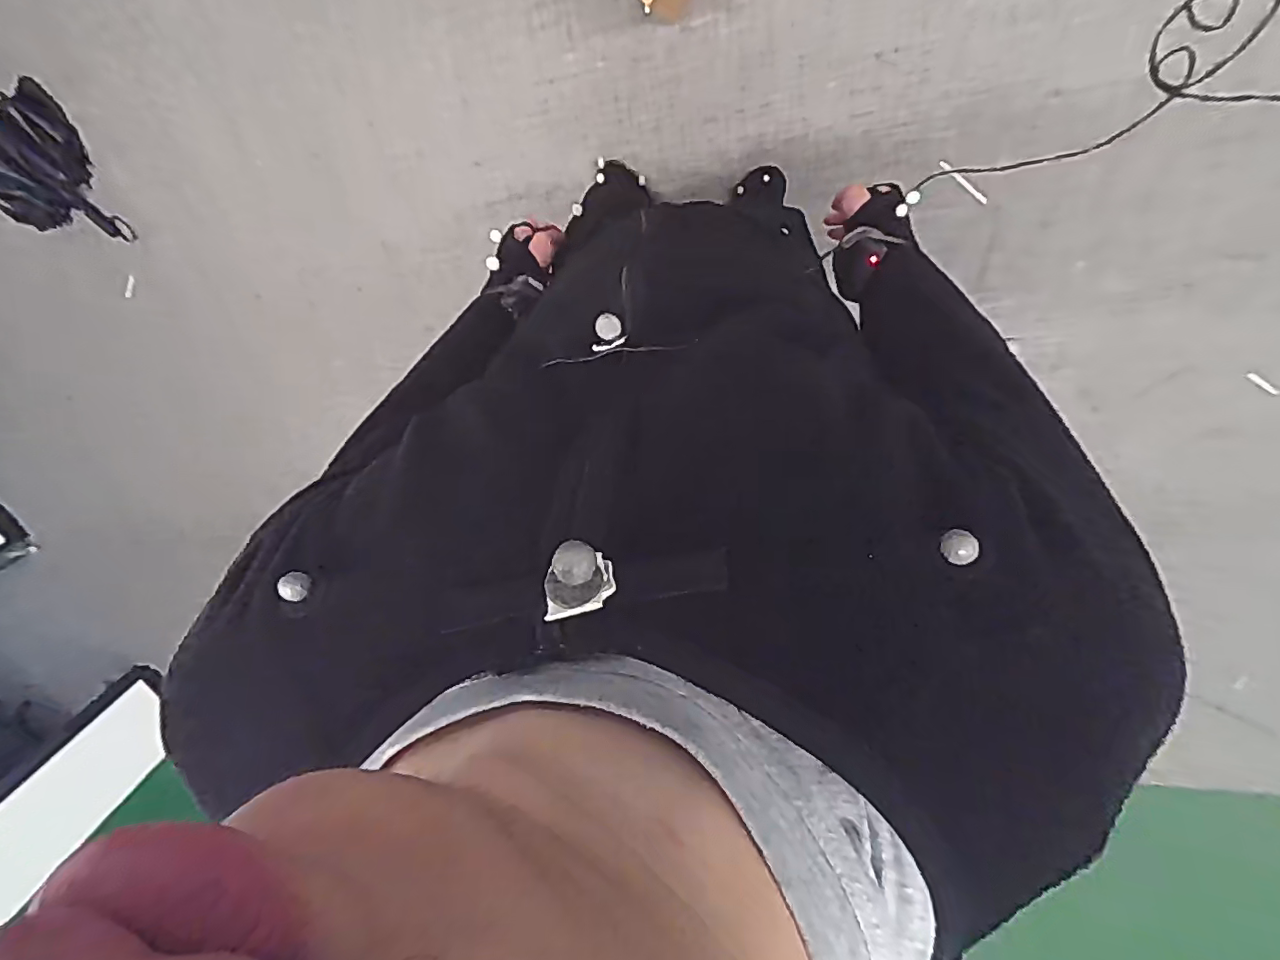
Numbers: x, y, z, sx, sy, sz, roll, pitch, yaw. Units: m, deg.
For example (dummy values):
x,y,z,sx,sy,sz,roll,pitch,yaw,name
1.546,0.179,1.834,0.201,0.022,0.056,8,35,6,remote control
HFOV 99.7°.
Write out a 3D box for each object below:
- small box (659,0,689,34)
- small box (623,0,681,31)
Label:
x,y,z,sx,sy,sz,roll,pitch,yaw,name
0.029,-0.998,1.027,0.168,0.176,0.179,33,122,-10,small box
0.014,-0.900,0.895,0.168,0.176,0.179,39,123,-14,small box
